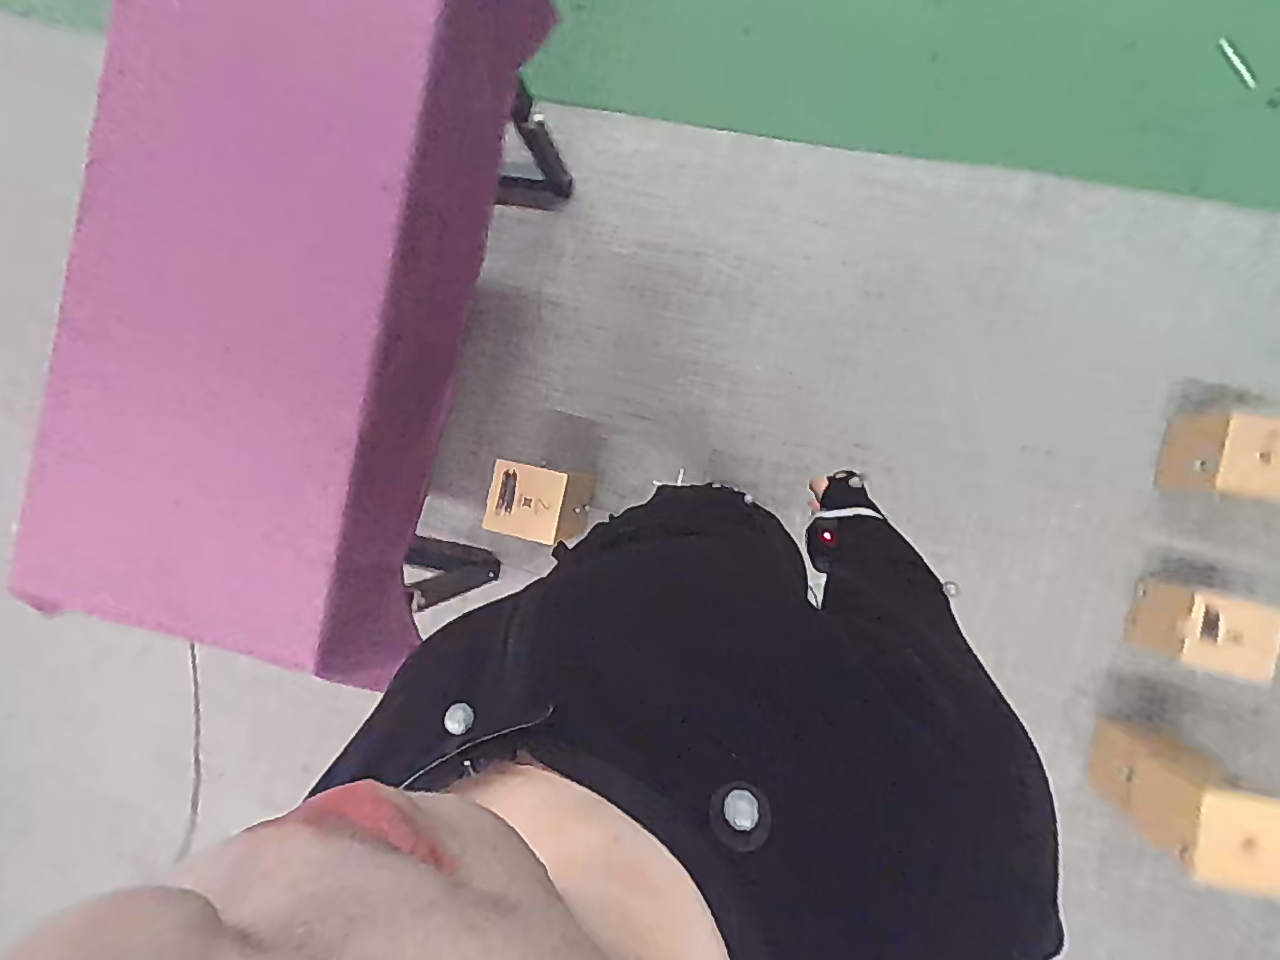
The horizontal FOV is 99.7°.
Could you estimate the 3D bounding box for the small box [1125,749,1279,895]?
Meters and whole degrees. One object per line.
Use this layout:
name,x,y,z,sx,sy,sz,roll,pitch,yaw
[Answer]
small box,1.123,0.670,1.081,0.168,0.176,0.179,6,90,10

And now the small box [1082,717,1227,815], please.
small box,1.165,0.673,1.239,0.168,0.176,0.179,11,91,10

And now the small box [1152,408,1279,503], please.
small box,1.326,-0.051,1.225,0.168,0.176,0.179,13,91,8

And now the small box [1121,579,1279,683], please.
small box,1.259,0.332,1.229,0.179,0.176,0.168,13,91,8
